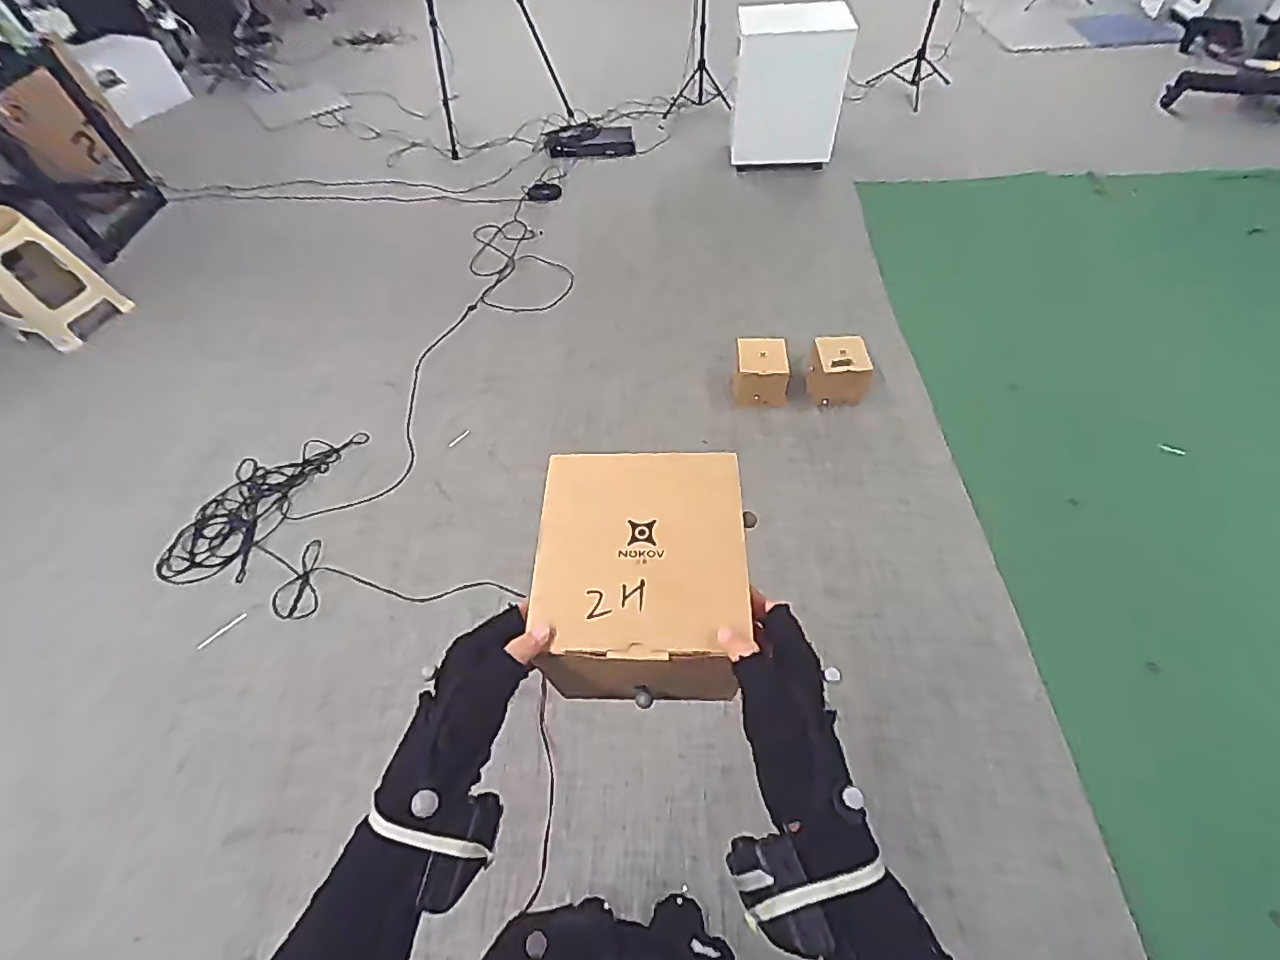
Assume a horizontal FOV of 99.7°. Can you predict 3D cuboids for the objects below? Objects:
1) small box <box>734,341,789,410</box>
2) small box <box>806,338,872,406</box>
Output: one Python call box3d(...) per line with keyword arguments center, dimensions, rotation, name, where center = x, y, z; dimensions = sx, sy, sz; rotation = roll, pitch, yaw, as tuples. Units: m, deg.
box3d(center=(0.425, -0.372, 1.918), dimensions=(0.168, 0.176, 0.179), rotation=(1, 55, 4), name="small box")
box3d(center=(0.694, -0.375, 1.902), dimensions=(0.168, 0.176, 0.179), rotation=(-2, 54, 2), name="small box")
